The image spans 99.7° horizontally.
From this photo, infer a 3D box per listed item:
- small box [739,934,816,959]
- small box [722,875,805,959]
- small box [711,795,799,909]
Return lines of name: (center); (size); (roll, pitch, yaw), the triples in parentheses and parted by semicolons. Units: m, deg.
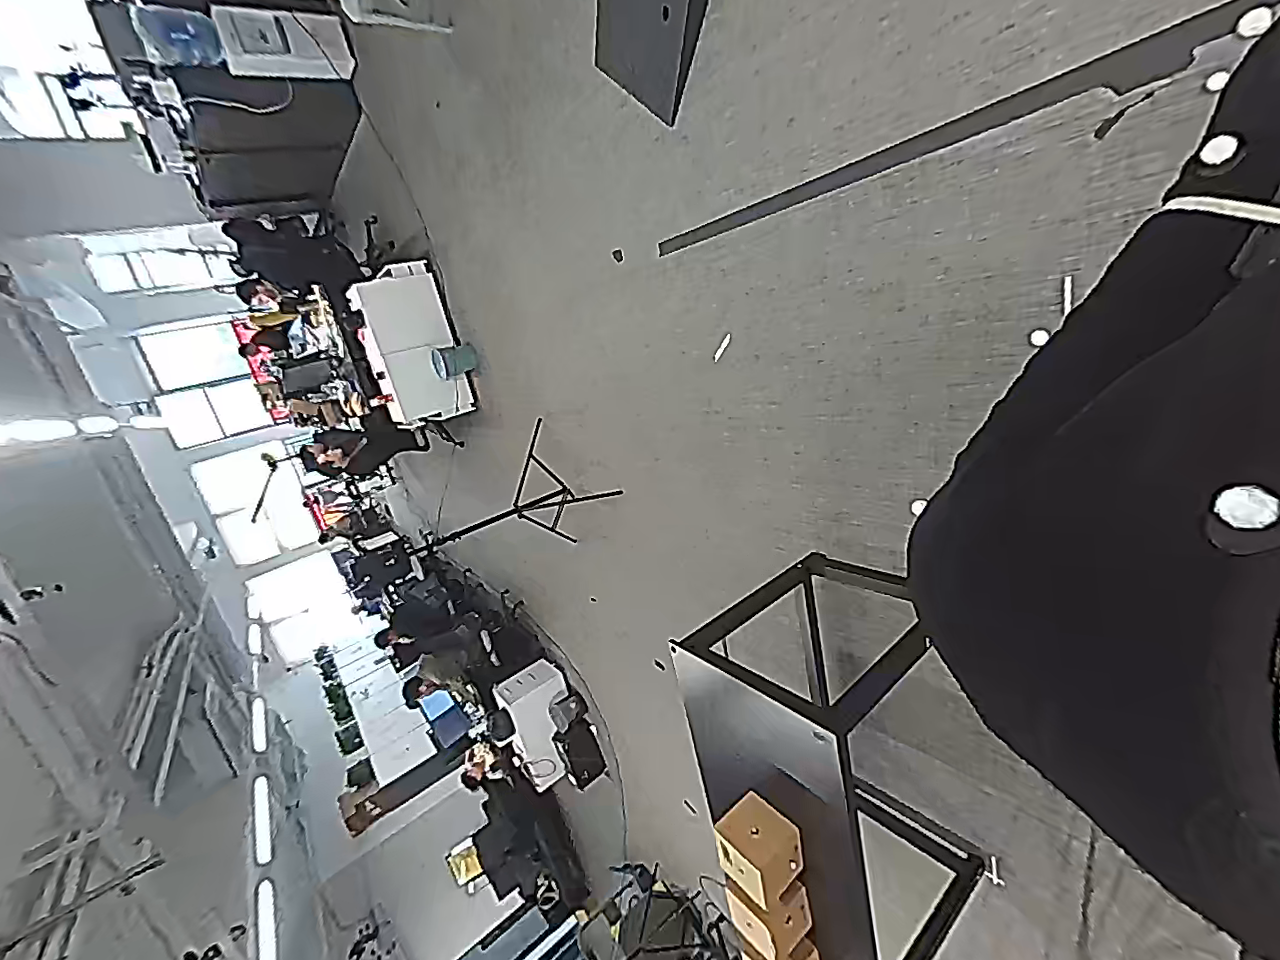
small box: (0.438, 1.517, 1.688); (0.168, 0.176, 0.179); (8, 116, 54)
small box: (0.376, 1.271, 1.620); (0.179, 0.176, 0.168); (10, 118, 54)
small box: (0.327, 1.041, 1.536); (0.179, 0.176, 0.168); (15, 123, 50)
